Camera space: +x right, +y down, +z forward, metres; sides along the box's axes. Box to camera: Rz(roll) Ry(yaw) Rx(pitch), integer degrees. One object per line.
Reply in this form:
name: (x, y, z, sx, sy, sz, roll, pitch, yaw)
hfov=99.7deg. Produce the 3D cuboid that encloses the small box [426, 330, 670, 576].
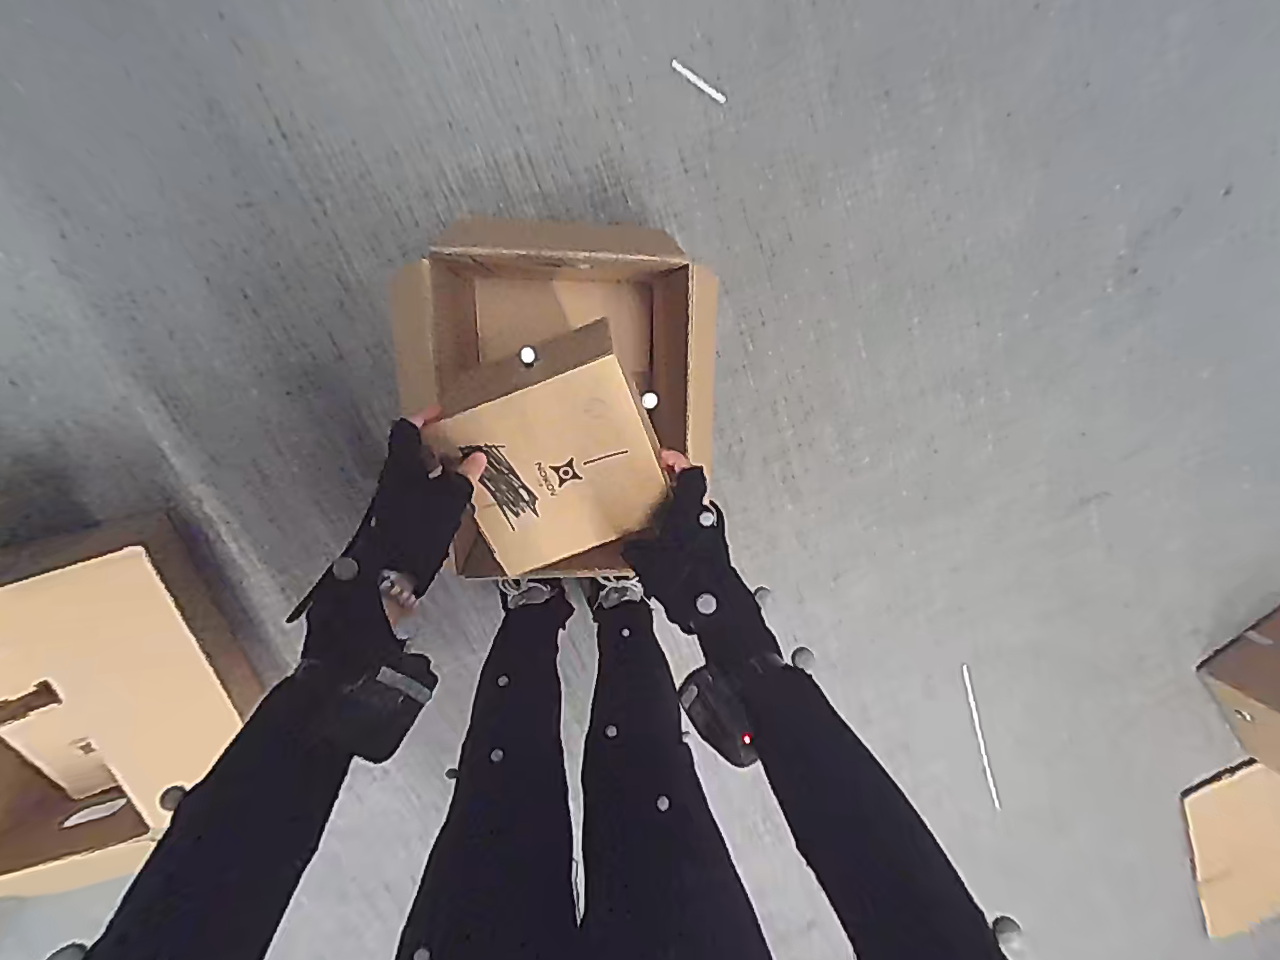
small box: (-0.082, -0.036, 0.556, 0.179, 0.176, 0.168, -19, 118, 5)
